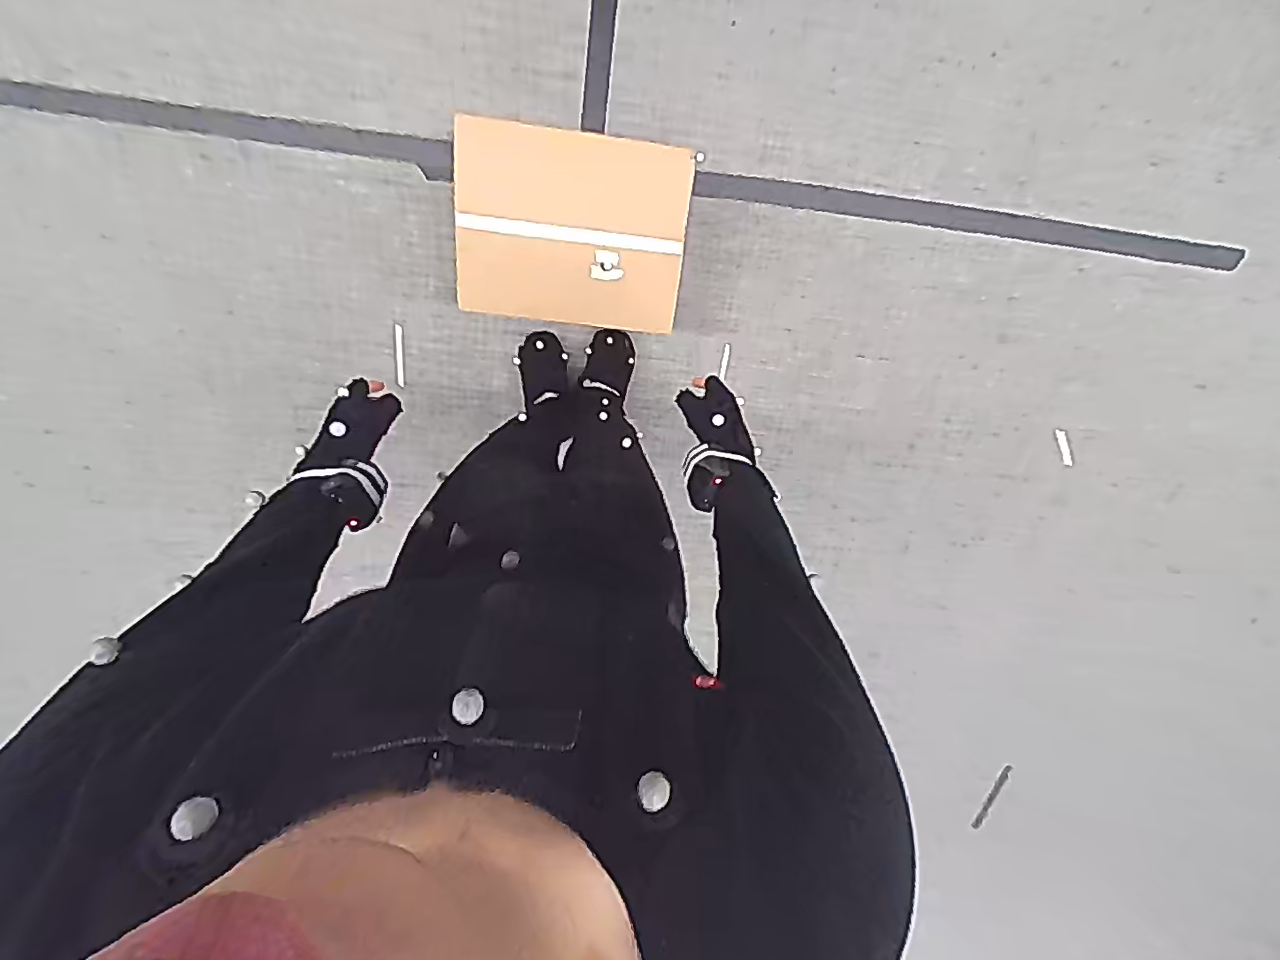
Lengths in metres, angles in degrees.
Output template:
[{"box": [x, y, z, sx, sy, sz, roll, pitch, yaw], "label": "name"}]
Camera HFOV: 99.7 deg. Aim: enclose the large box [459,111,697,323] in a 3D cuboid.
[{"box": [-0.125, -0.516, 1.097, 0.408, 0.320, 0.320, 4, 116, -6], "label": "large box"}]
